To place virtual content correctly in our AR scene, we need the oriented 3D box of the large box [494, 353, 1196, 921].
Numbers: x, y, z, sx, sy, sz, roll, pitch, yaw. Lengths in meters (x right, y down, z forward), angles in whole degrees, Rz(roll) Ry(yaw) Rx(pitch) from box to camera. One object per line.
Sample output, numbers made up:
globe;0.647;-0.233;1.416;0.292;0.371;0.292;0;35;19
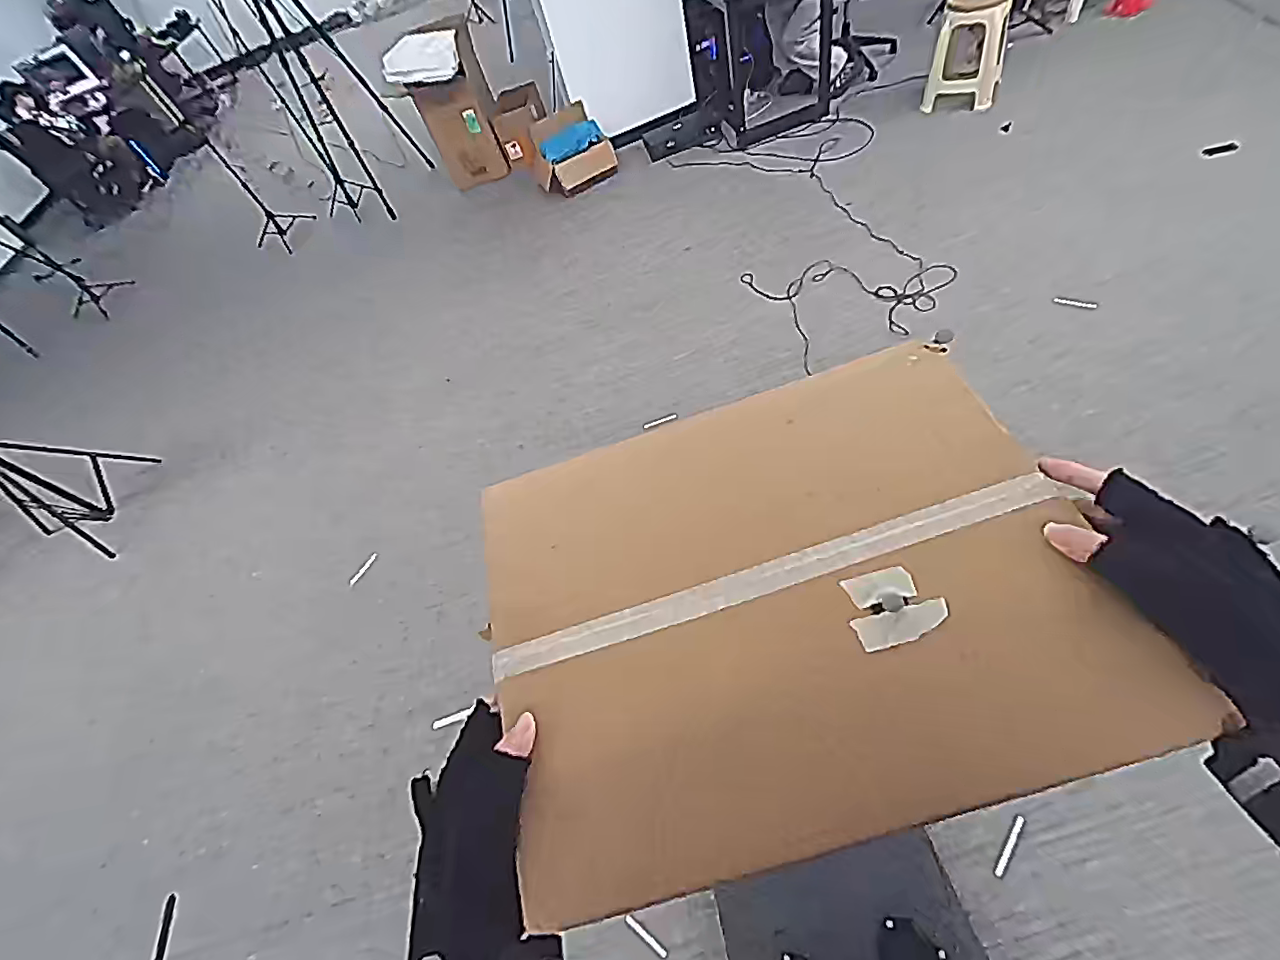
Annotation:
large box;0.124;0.151;0.518;0.408;0.320;0.320;-19;57;3
